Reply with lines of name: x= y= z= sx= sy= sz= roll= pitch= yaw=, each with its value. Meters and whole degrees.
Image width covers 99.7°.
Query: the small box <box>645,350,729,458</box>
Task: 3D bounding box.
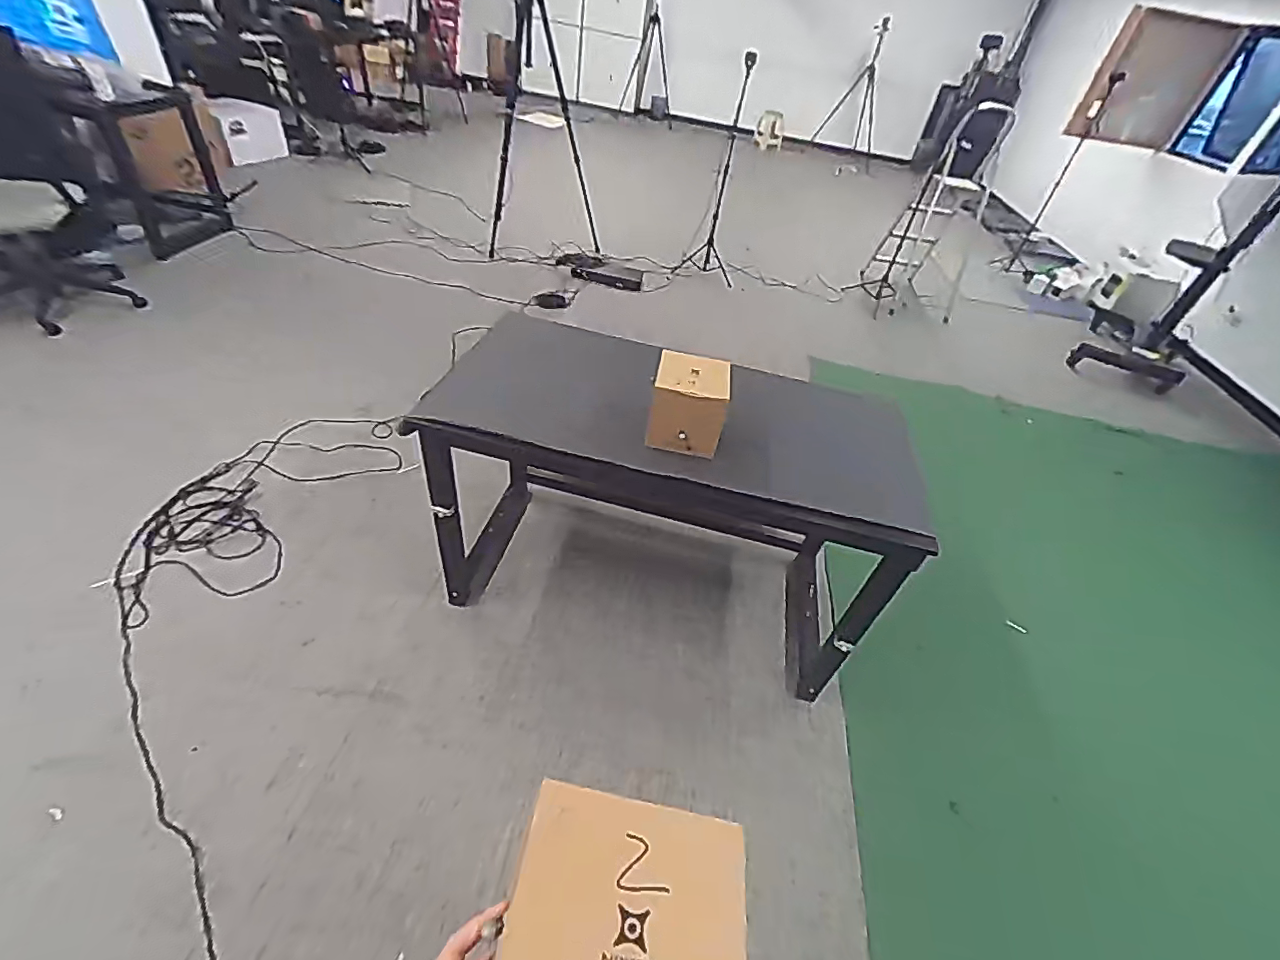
small box: x=0.109 y=-0.179 z=1.275 sx=0.168 sy=0.176 sz=0.179 roll=11 pitch=40 yaw=1
